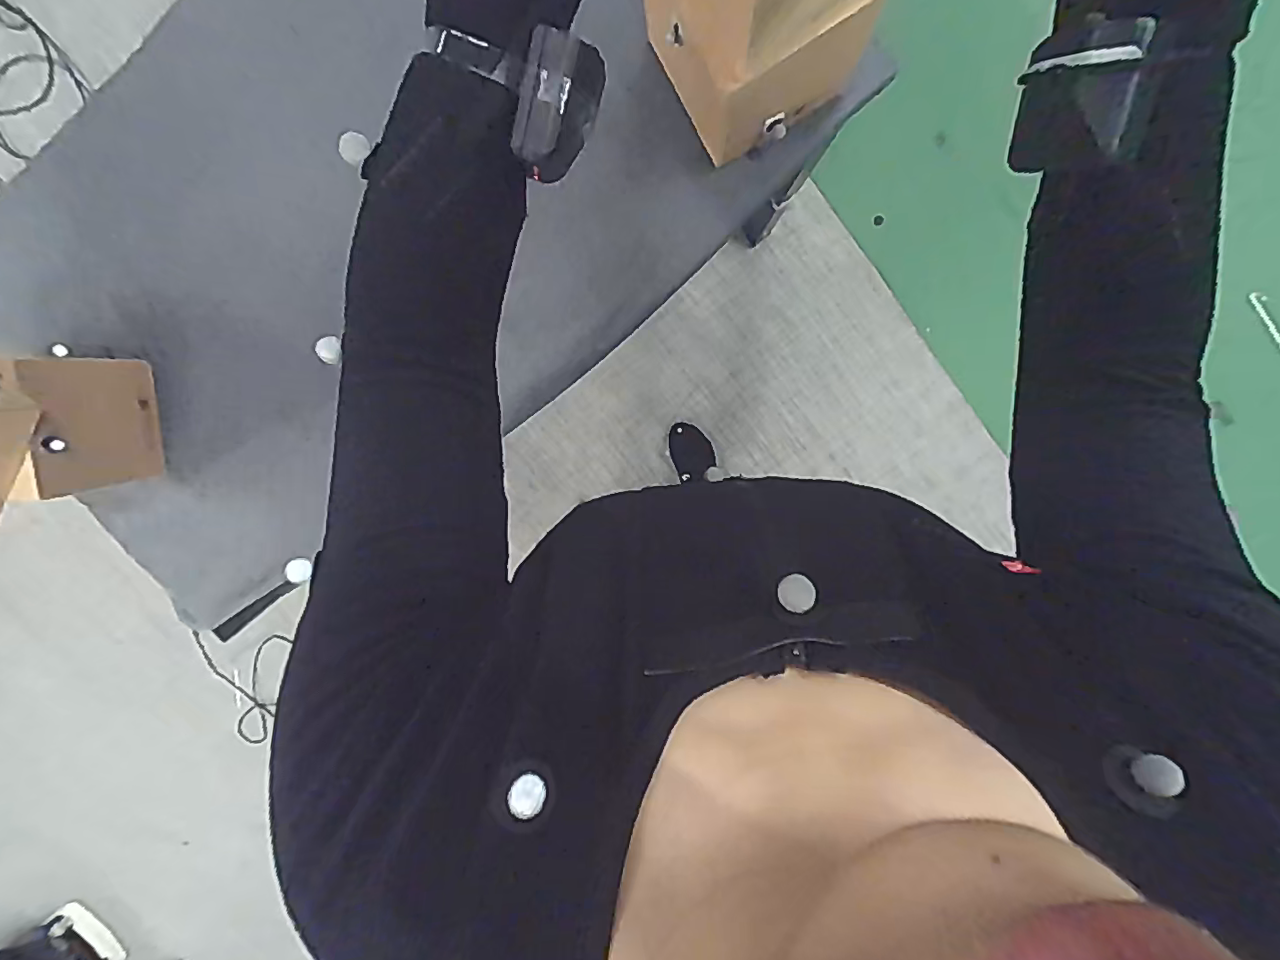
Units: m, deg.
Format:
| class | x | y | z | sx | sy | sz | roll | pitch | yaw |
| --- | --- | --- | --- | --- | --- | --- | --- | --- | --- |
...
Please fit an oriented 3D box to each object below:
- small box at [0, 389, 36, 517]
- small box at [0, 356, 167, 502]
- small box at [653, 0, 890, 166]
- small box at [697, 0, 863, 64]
| class | x | y | z | sx | sy | sz | roll | pitch | yaw |
| --- | --- | --- | --- | --- | --- | --- | --- | --- | --- |
| small box | -0.775 | -0.038 | 0.531 | 0.168 | 0.176 | 0.179 | 33 | 102 | -4 |
| small box | -0.768 | -0.073 | 0.692 | 0.179 | 0.176 | 0.168 | 3 | 101 | 3 |
| small box | 0.118 | -0.470 | 0.553 | 0.168 | 0.176 | 0.179 | -29 | 95 | 10 |
| small box | 0.112 | -0.455 | 0.391 | 0.168 | 0.176 | 0.179 | -31 | 93 | 10 |
